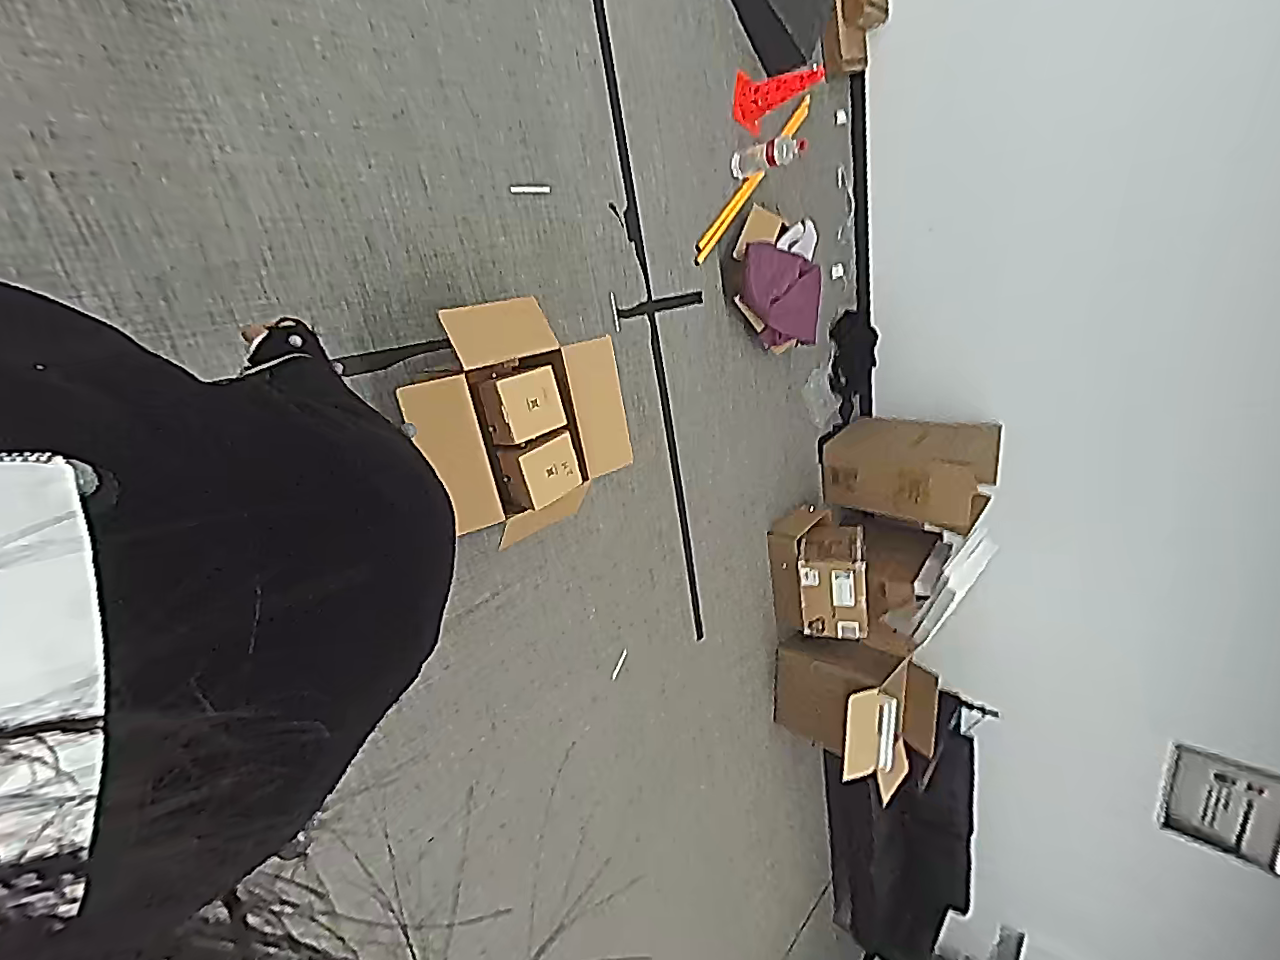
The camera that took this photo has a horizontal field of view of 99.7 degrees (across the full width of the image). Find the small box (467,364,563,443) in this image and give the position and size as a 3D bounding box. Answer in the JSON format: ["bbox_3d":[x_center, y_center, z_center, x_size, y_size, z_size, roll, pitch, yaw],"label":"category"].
[{"bbox_3d":[-0.341,-0.204,1.448,0.179,0.176,0.168,-31,116,-40],"label":"small box"}]

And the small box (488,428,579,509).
[{"bbox_3d":[-0.304,-0.041,1.515,0.179,0.176,0.168,-35,125,-36],"label":"small box"}]
